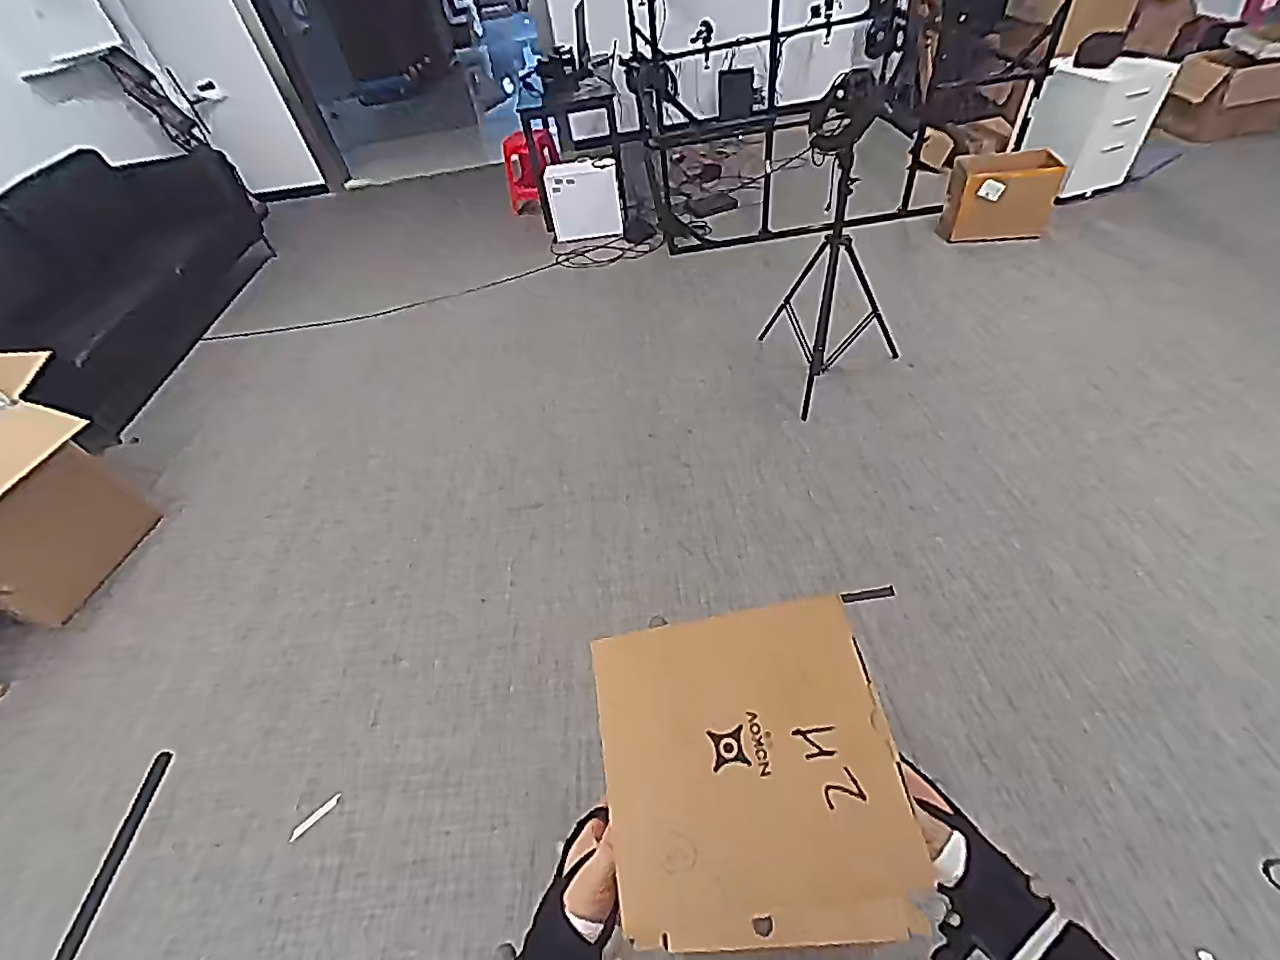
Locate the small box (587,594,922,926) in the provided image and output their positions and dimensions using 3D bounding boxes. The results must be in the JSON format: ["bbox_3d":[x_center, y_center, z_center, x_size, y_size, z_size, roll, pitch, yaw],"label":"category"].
[{"bbox_3d":[0.070,0.202,0.405,0.179,0.176,0.168,-12,61,2],"label":"small box"}]
